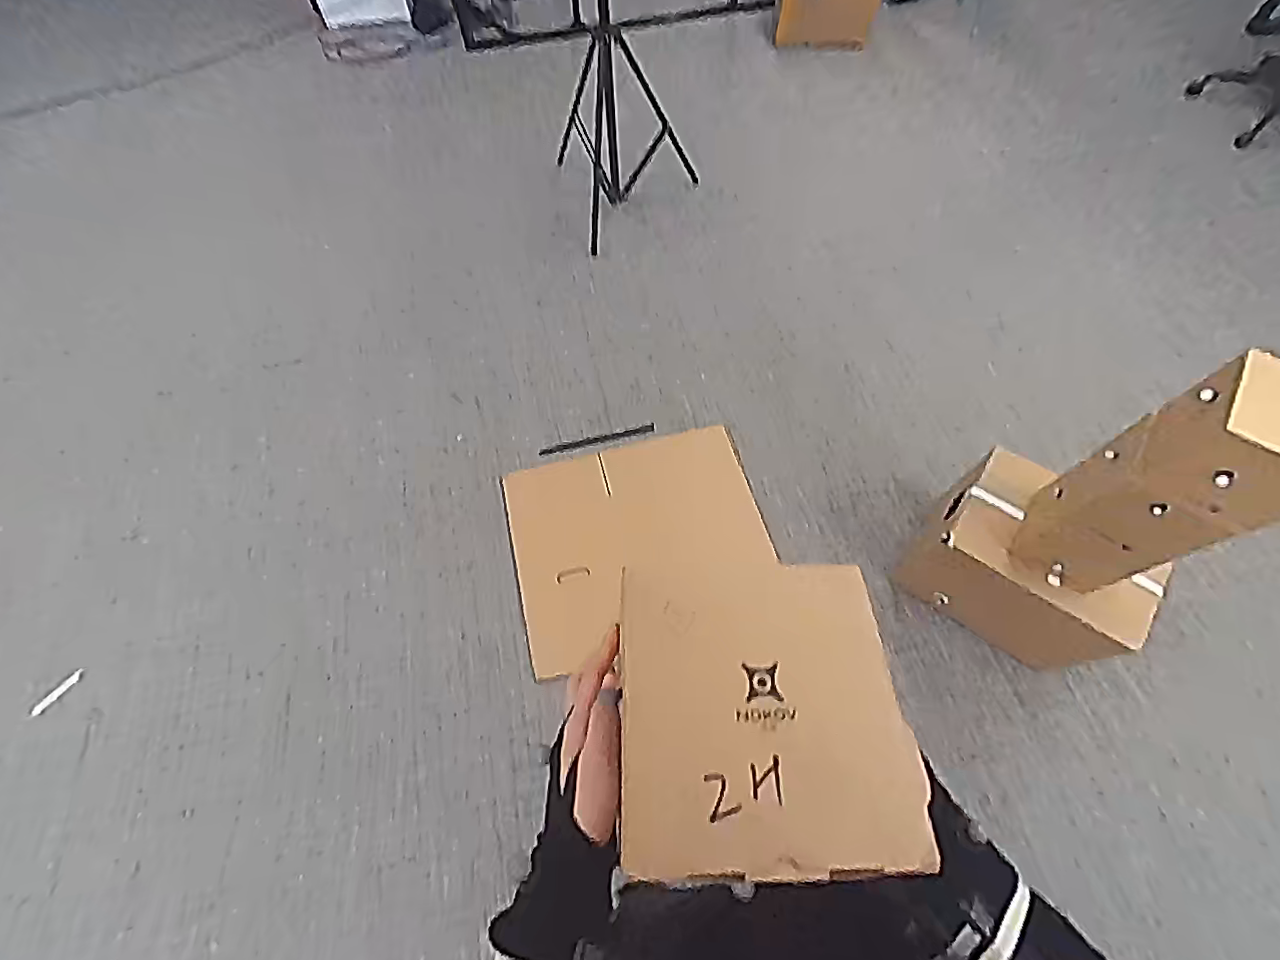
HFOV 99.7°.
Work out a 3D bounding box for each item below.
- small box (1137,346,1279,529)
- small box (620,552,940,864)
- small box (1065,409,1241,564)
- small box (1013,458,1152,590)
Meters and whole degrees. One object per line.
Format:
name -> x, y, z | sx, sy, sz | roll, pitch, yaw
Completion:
small box -> 0.899, -0.055, 0.803 | 0.168, 0.176, 0.179 | 32, 68, 17
small box -> 0.070, 0.168, 0.390 | 0.168, 0.176, 0.179 | 1, 55, -3
small box -> 0.901, 0.016, 0.950 | 0.168, 0.176, 0.179 | 32, 67, 17
small box -> 0.903, 0.093, 1.095 | 0.168, 0.176, 0.179 | 32, 69, 17
